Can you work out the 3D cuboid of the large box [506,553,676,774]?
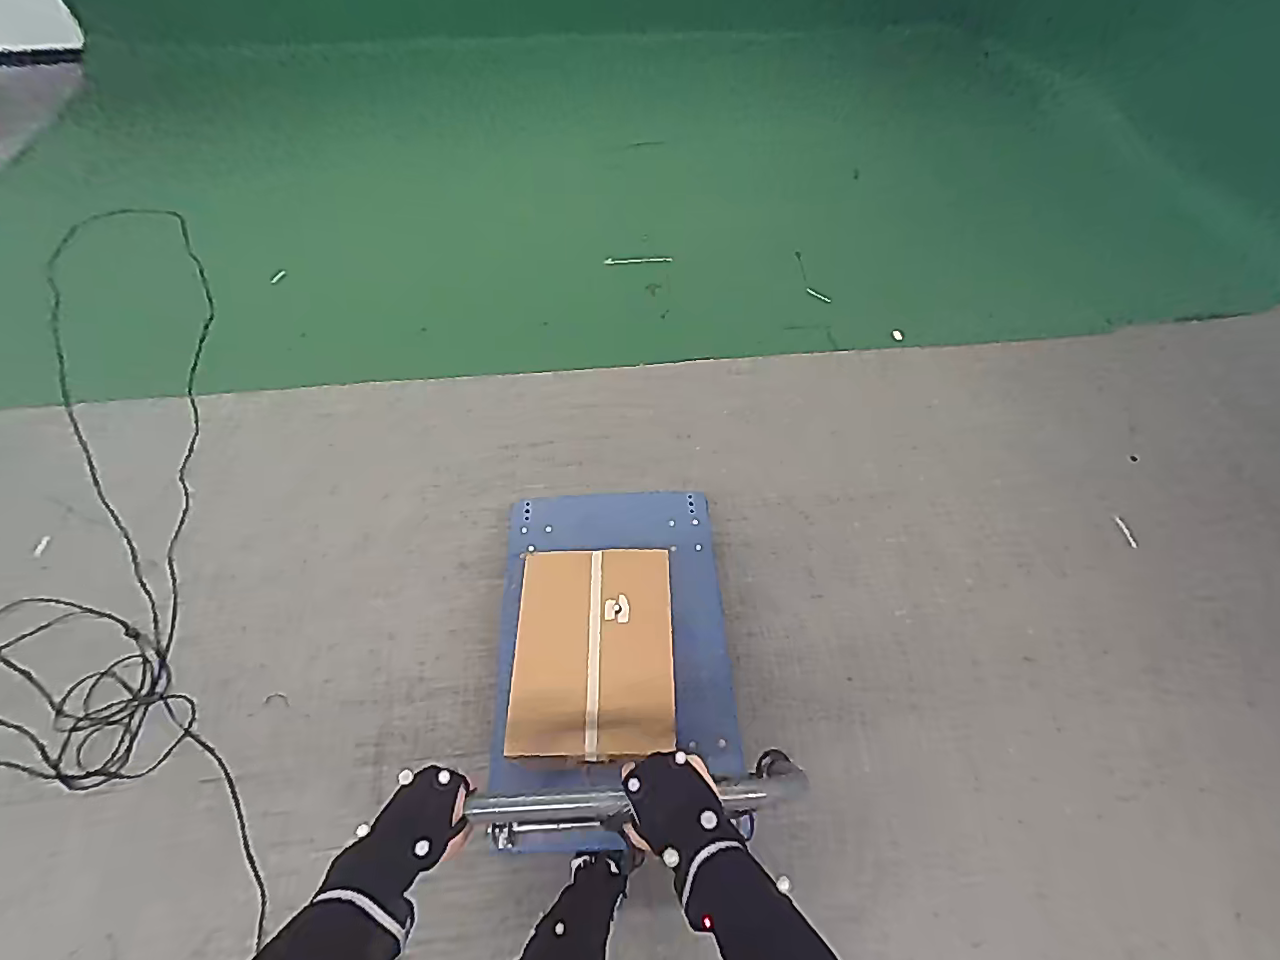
[{"bbox_3d":[-0.091,0.412,1.205,0.320,0.320,0.408,0,57,0],"label":"large box"}]
